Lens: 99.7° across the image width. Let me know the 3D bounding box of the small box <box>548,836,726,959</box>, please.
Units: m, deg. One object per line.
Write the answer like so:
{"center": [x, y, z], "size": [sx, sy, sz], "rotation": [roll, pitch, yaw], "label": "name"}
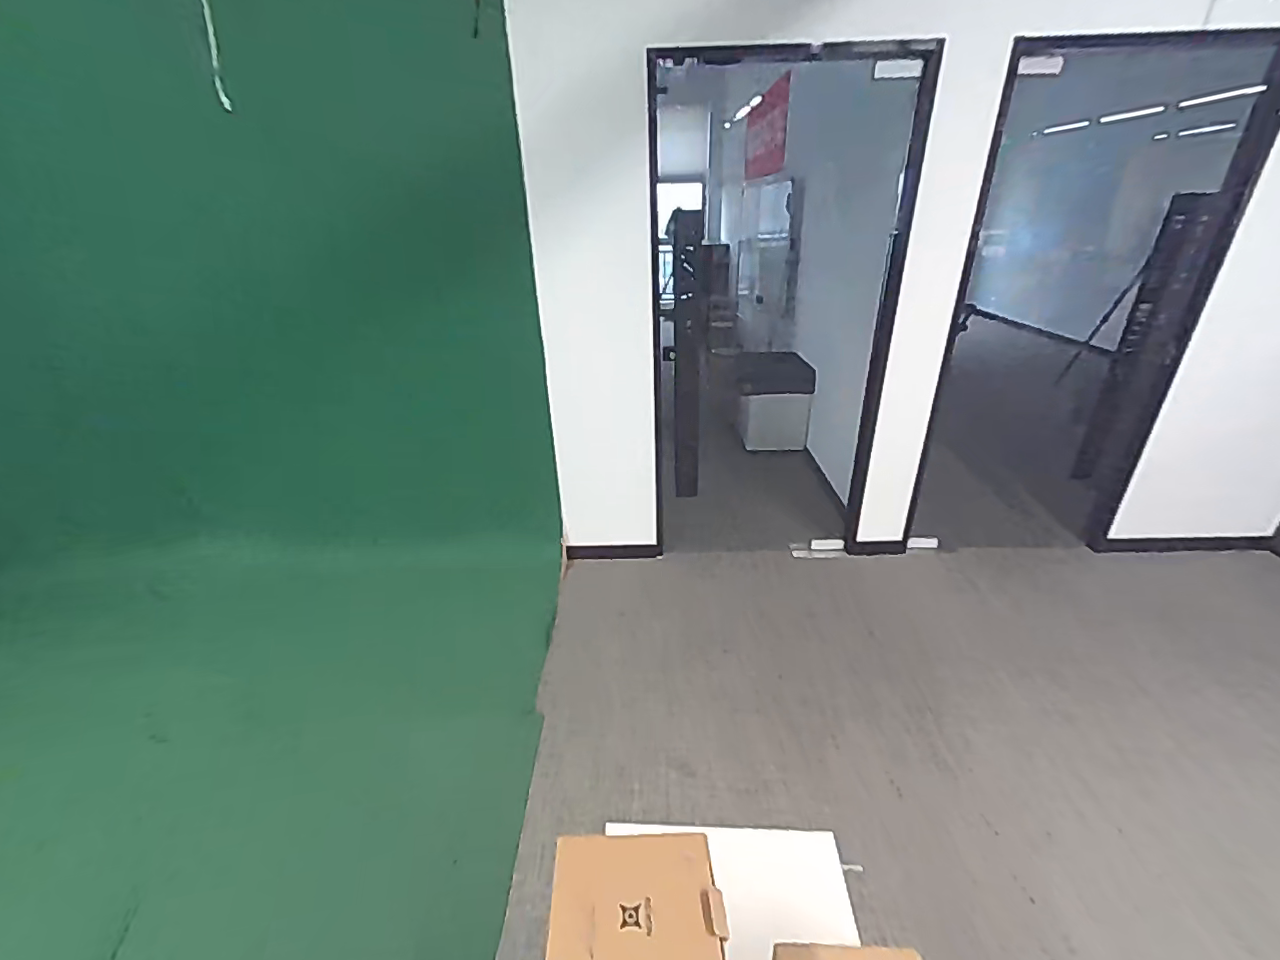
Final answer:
{"center": [-0.005, 0.523, 0.588], "size": [0.179, 0.176, 0.168], "rotation": [-2, 25, -2], "label": "small box"}
